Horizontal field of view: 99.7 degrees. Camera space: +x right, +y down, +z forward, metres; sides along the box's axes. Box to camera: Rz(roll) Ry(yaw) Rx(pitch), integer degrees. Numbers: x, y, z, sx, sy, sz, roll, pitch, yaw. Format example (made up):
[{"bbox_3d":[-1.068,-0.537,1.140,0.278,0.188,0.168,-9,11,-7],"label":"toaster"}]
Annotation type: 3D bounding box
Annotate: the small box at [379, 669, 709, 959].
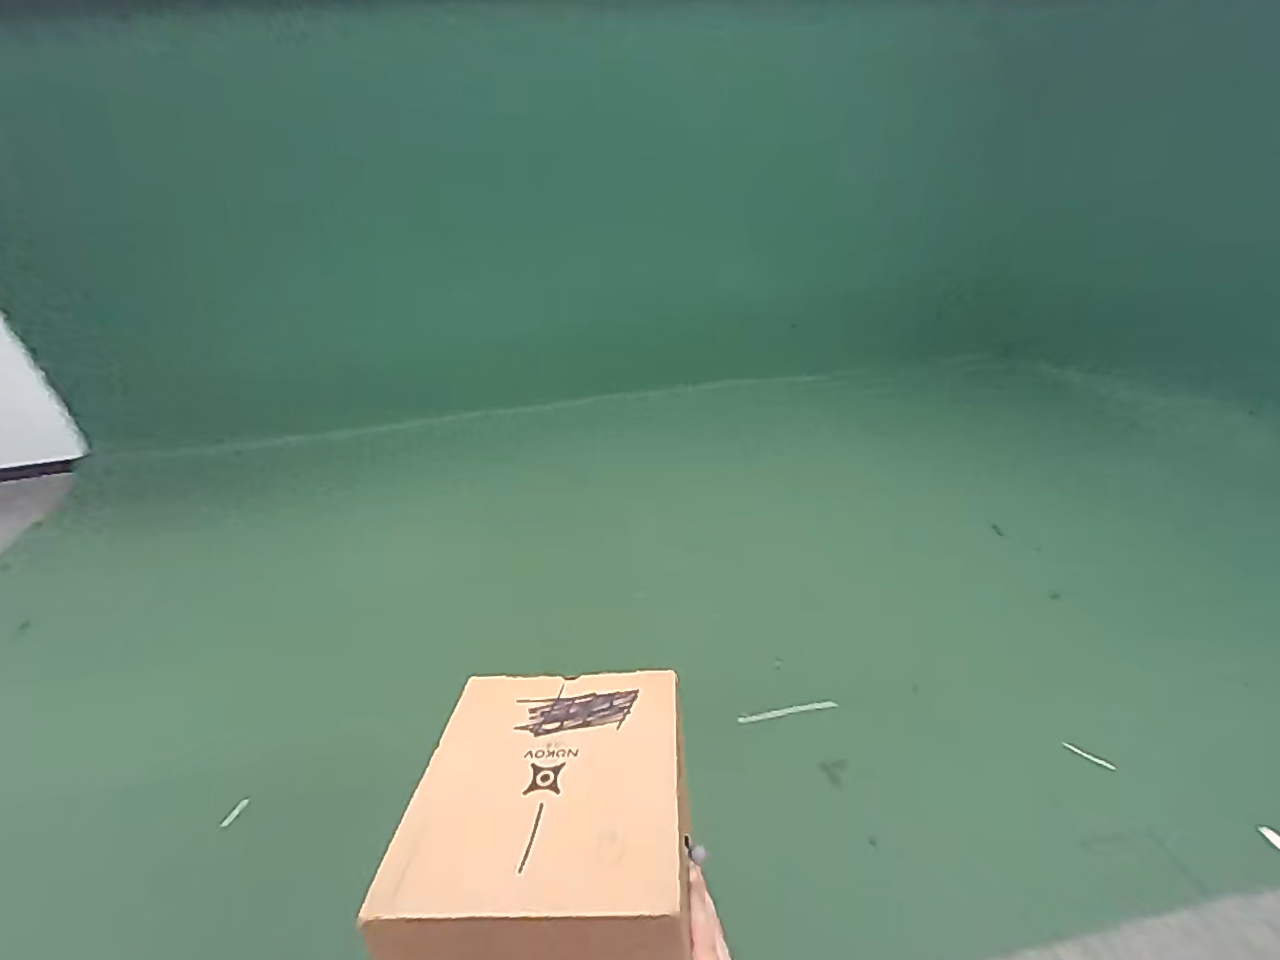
[{"bbox_3d":[-0.041,0.254,0.368,0.168,0.176,0.179,-4,20,5],"label":"small box"}]
